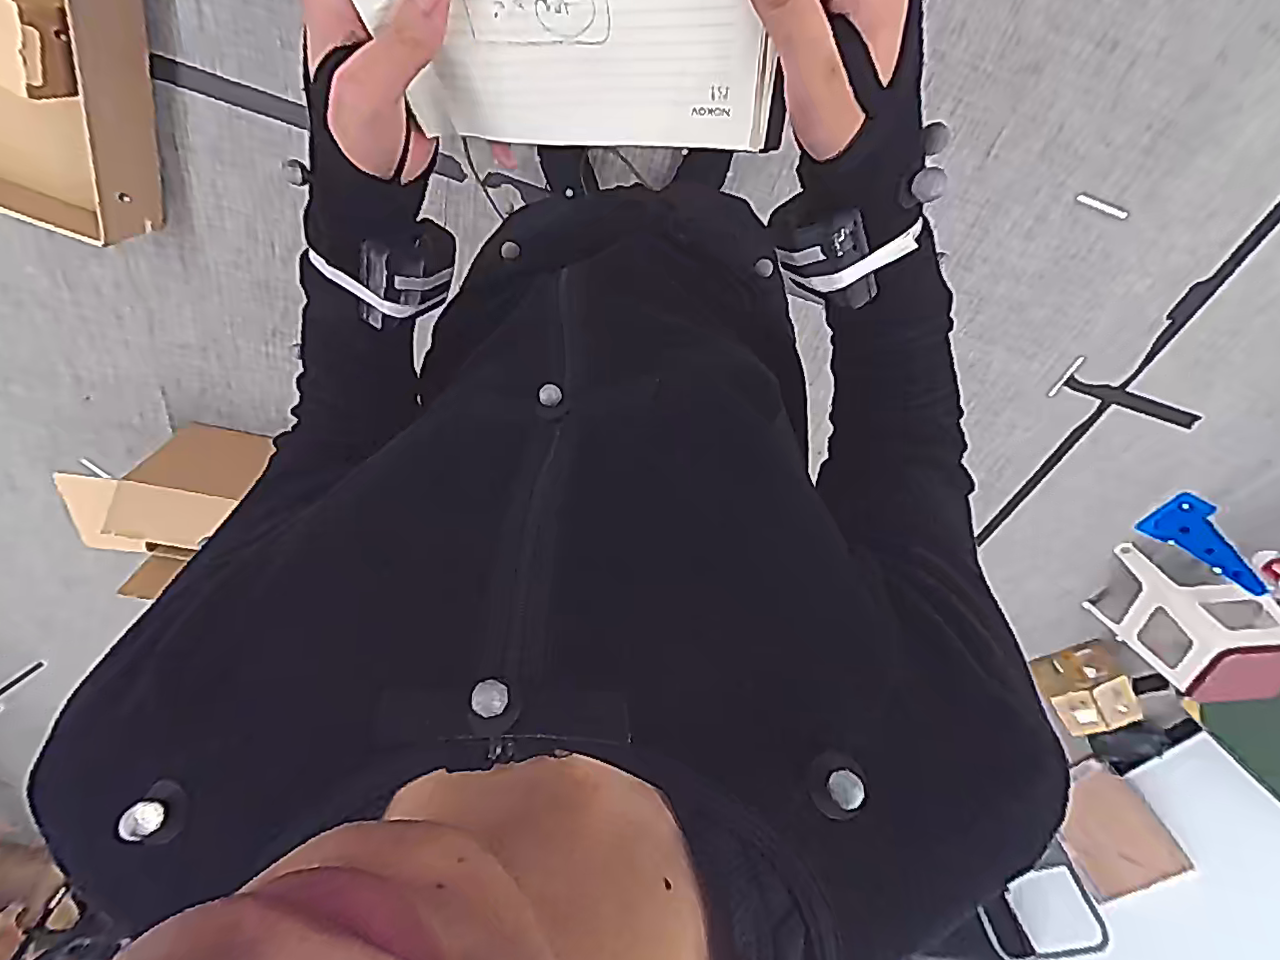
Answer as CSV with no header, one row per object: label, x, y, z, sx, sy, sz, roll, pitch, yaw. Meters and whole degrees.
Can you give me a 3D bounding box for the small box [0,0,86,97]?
small box,-1.221,-0.878,1.035,0.179,0.176,0.168,25,124,-19
